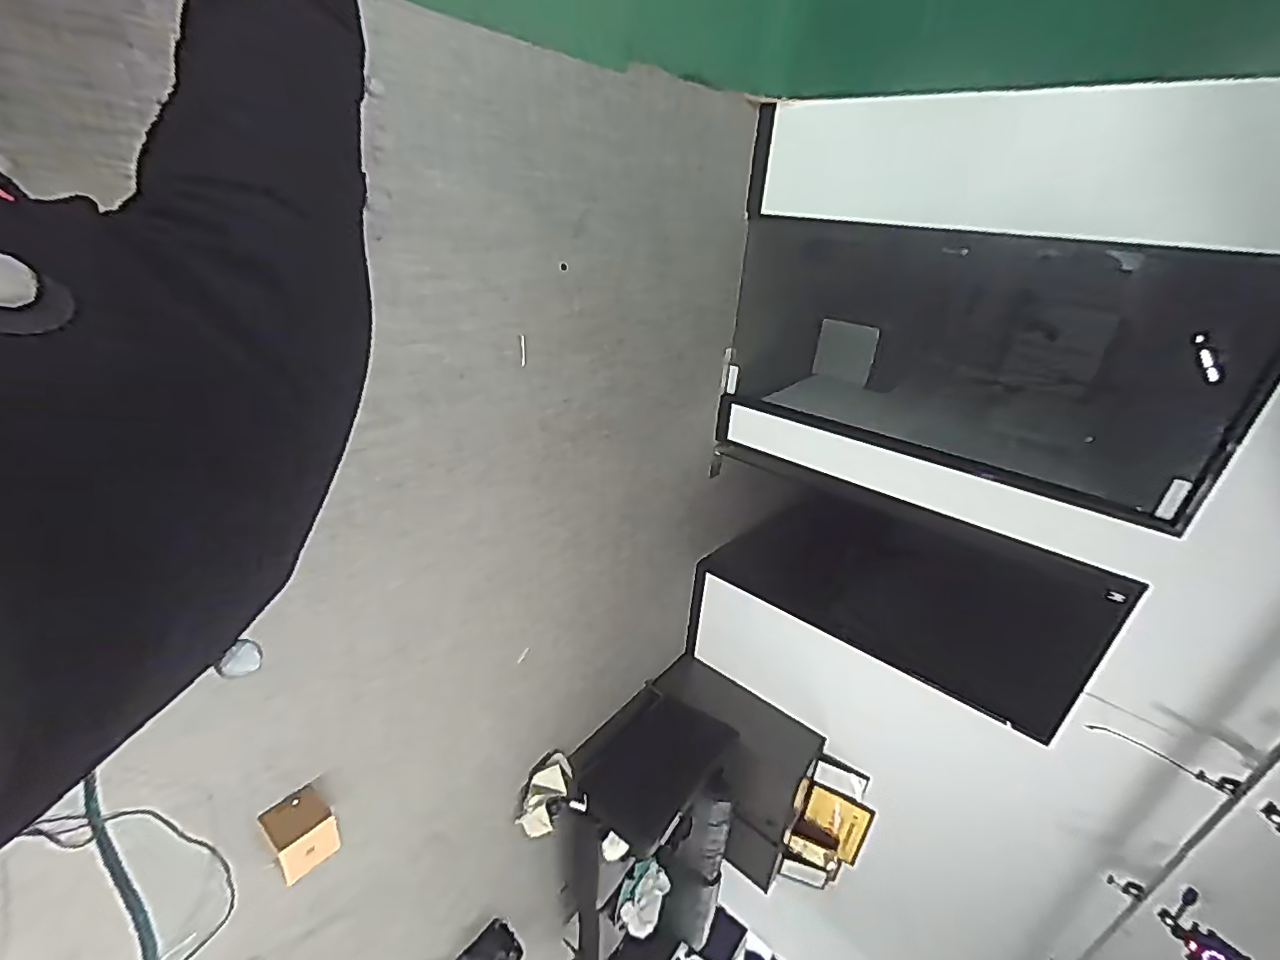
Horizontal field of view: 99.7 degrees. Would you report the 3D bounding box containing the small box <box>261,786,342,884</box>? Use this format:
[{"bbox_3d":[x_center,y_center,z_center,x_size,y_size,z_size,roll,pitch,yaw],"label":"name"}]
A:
[{"bbox_3d":[-1.114,1.159,1.781,0.168,0.176,0.179,-24,128,-47],"label":"small box"}]
